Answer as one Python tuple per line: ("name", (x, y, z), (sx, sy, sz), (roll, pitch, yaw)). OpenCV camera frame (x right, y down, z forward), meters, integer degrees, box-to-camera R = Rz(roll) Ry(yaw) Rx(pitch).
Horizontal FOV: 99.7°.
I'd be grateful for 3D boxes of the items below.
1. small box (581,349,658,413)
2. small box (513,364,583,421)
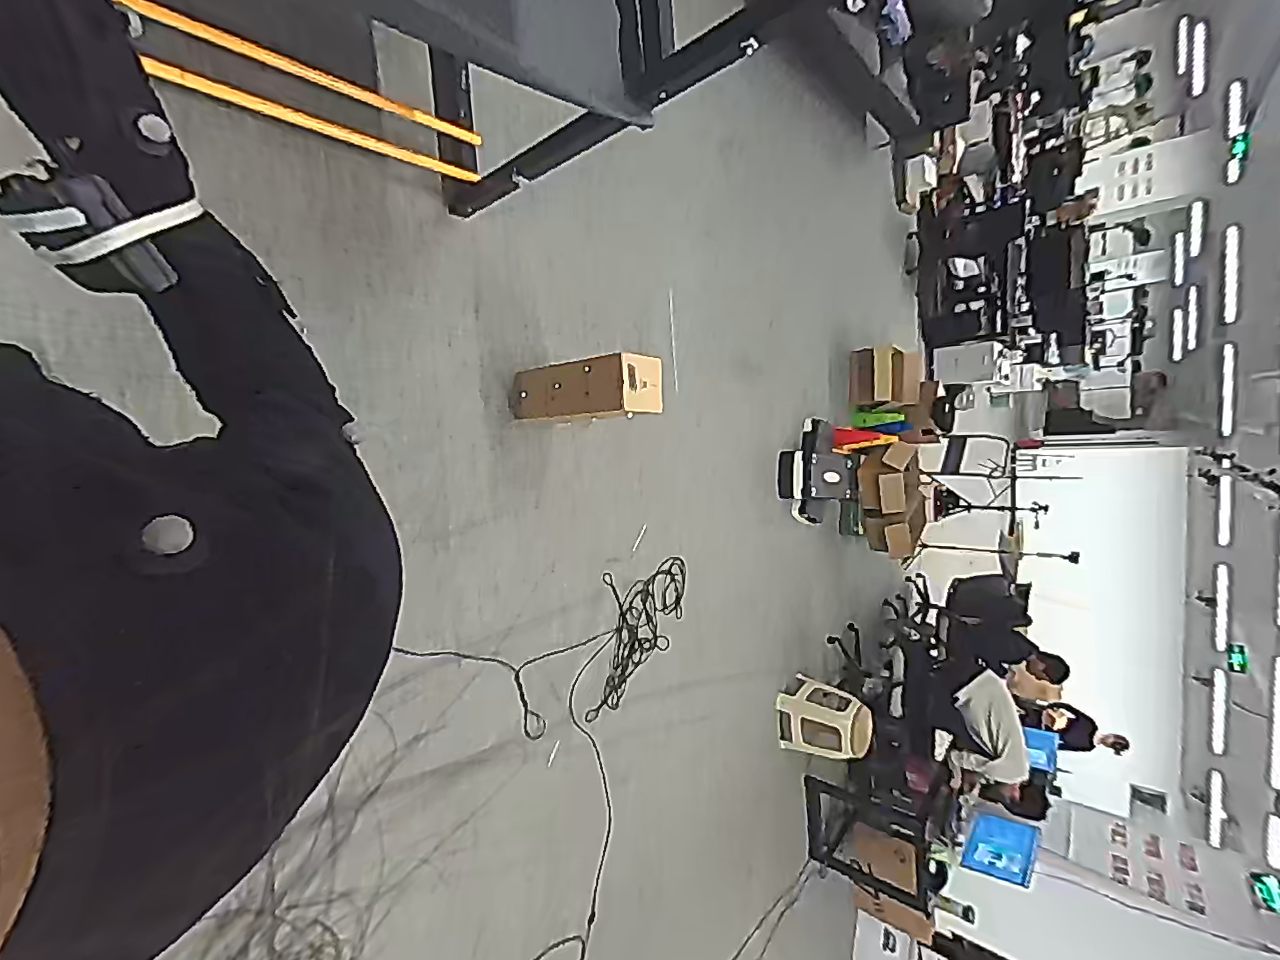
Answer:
("small box", (-0.065, -0.290, 1.626), (0.179, 0.176, 0.168), (-4, 95, -49))
("small box", (-0.312, -0.293, 1.839), (0.179, 0.176, 0.168), (-1, 91, -49))
